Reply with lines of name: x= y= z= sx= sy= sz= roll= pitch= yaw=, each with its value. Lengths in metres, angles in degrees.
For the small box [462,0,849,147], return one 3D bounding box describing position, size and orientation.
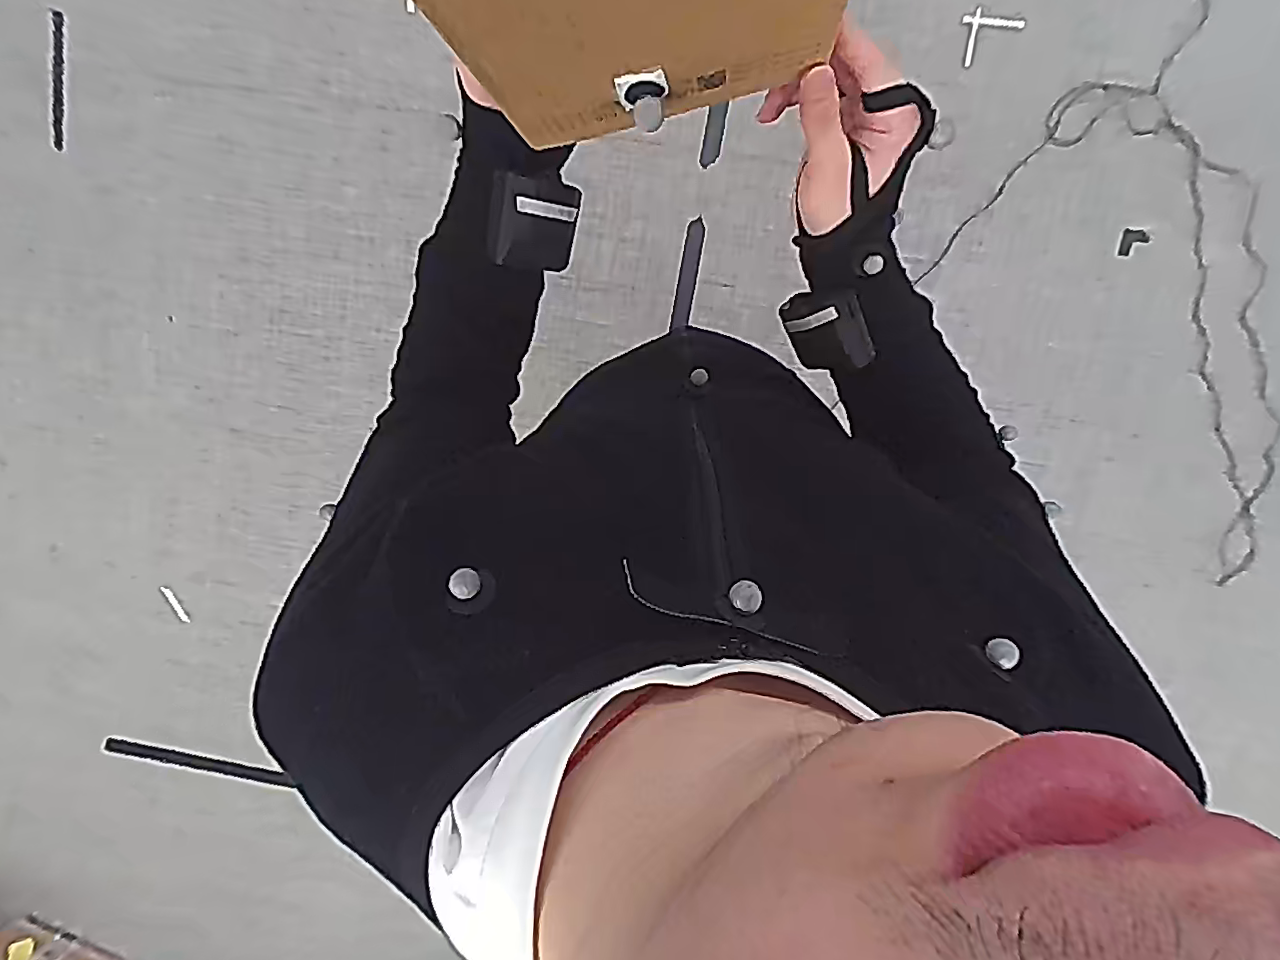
small box: x=-0.004 y=-0.277 z=0.218 sx=0.168 sy=0.176 sz=0.179 roll=-10 pitch=100 yaw=10
